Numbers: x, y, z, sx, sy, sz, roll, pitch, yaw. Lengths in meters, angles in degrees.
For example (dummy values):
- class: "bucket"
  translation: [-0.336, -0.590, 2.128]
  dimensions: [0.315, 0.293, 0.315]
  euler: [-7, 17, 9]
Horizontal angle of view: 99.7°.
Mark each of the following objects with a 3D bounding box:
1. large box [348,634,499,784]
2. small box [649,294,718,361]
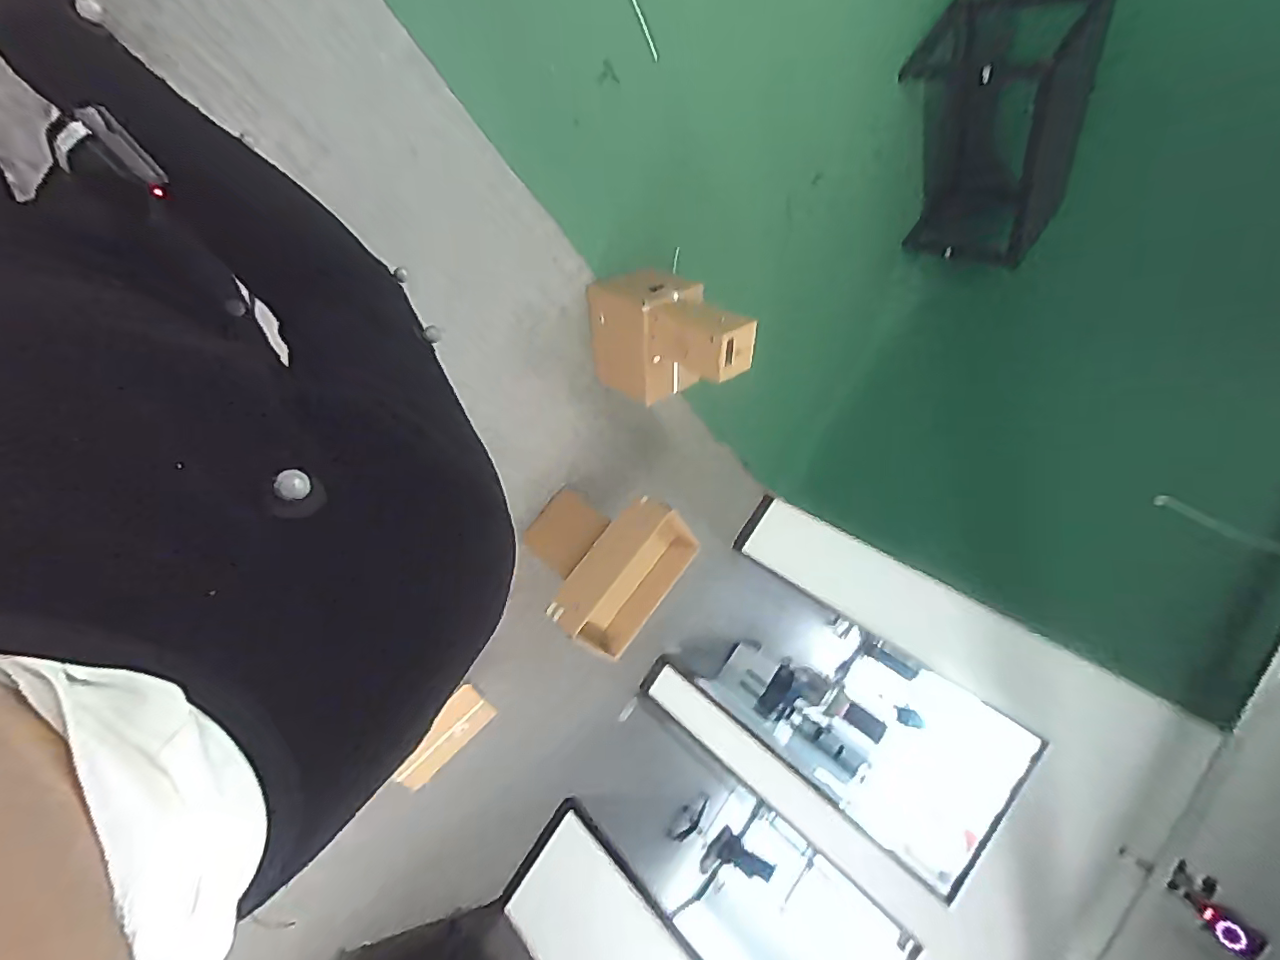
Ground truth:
- class: "large box"
  translation: [-0.860, 0.913, 2.174]
  dimensions: [0.408, 0.320, 0.320]
  euler: [-42, 142, -23]
- class: "small box"
  translation: [0.148, -0.539, 1.898]
  dimensions: [0.179, 0.176, 0.168]
  euler: [-30, 137, -34]
